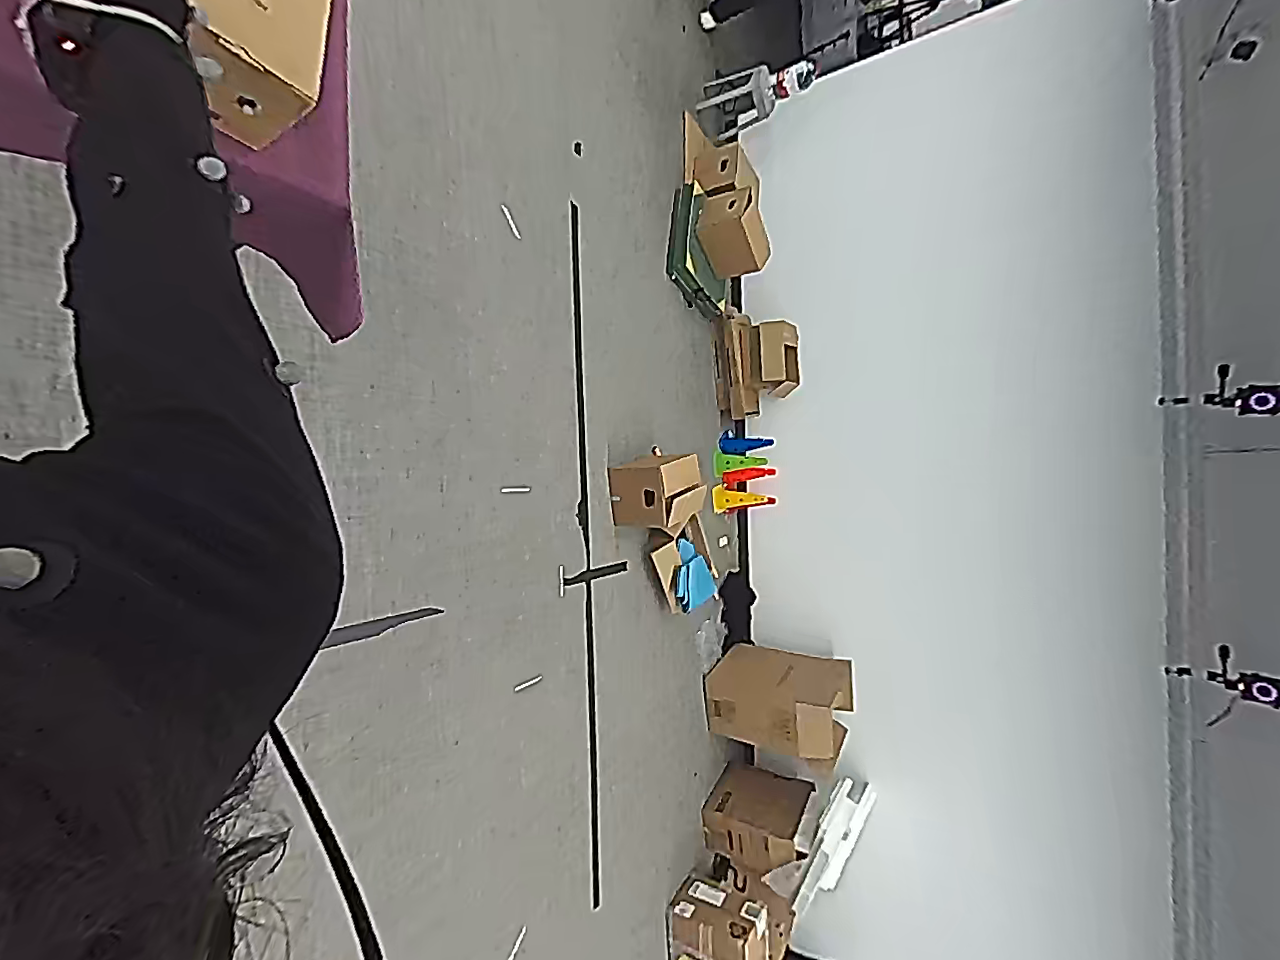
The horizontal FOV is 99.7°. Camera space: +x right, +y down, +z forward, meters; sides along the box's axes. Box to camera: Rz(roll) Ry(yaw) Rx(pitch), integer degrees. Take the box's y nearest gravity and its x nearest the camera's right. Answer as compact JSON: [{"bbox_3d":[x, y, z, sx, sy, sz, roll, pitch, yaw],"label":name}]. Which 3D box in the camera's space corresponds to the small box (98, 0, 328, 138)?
[{"bbox_3d":[-0.511,-0.563,0.654,0.168,0.176,0.179,14,76,-59],"label":"small box"}]
